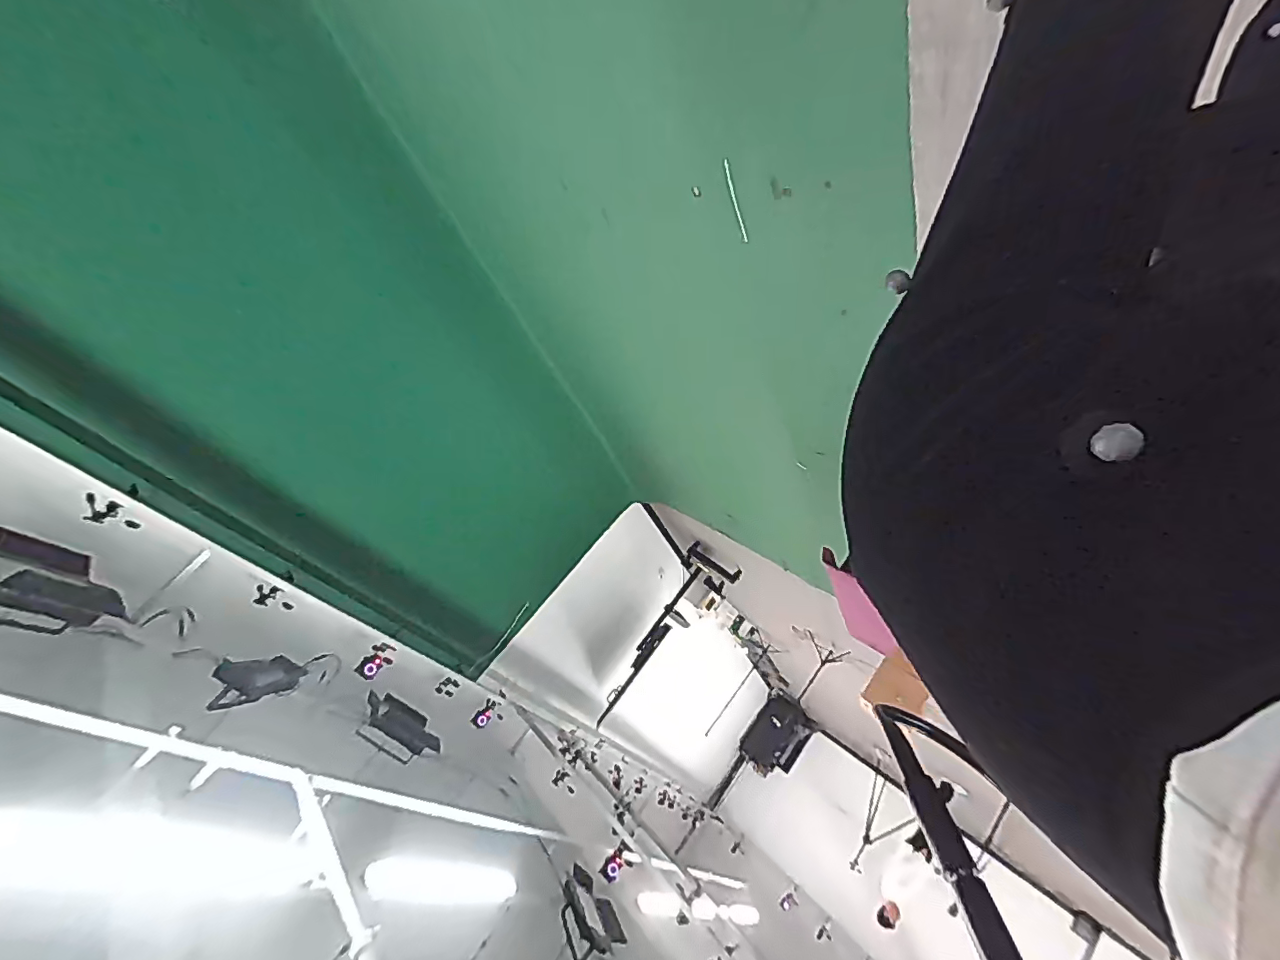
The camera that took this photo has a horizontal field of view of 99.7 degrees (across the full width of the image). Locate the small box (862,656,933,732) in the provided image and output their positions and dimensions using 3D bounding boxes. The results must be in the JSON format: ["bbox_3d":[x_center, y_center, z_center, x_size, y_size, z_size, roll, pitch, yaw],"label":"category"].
[{"bbox_3d":[0.915,0.760,1.925,0.179,0.176,0.168,28,160,34],"label":"small box"}]

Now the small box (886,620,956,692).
[{"bbox_3d":[1.017,0.640,1.968,0.179,0.176,0.168,31,162,32],"label":"small box"}]
